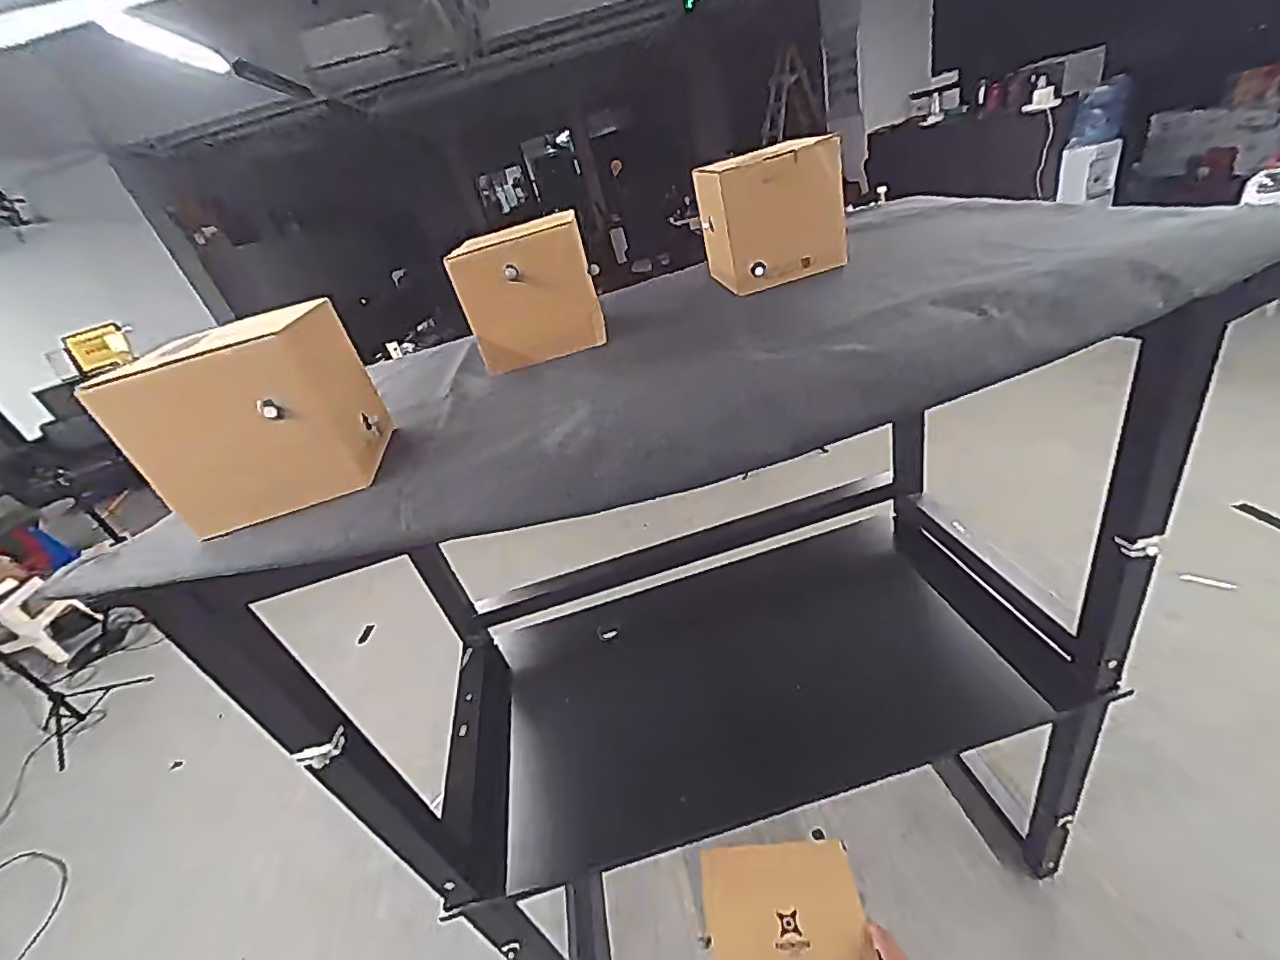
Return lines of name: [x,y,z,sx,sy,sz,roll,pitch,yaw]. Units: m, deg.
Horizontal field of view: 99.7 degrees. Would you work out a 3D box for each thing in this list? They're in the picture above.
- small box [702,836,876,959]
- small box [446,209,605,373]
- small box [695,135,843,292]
small box: [0.160,0.536,0.602,0.168,0.176,0.179,-5,31,2]
small box: [-0.153,-0.279,0.795,0.179,0.176,0.168,-15,31,4]
small box: [0.193,-0.398,0.817,0.168,0.176,0.179,-16,30,1]
